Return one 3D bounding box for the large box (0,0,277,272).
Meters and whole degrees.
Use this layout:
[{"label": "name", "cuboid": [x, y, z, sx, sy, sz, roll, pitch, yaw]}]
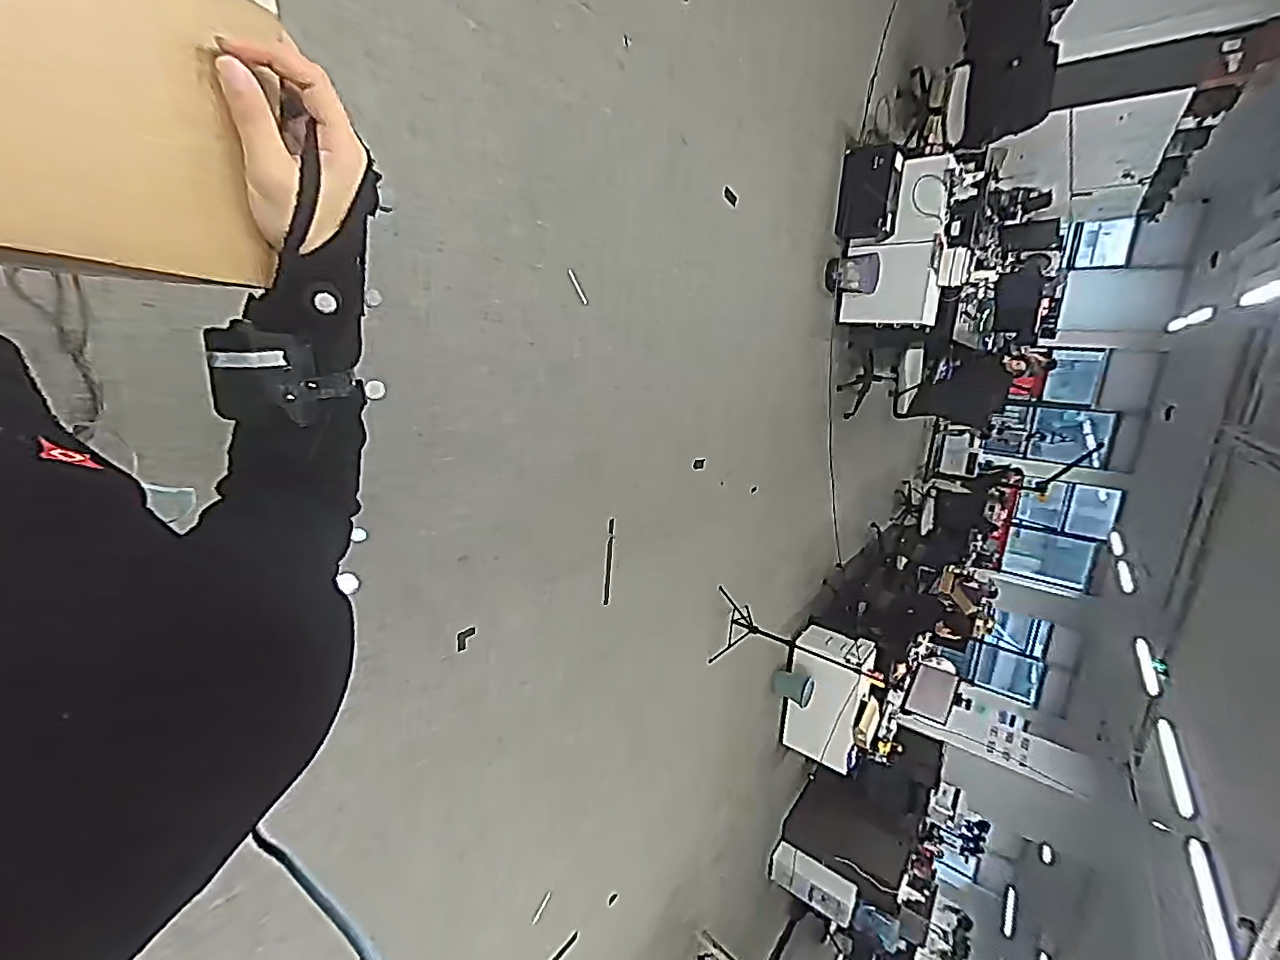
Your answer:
[{"label": "large box", "cuboid": [-0.441, -0.280, 0.210, 0.408, 0.320, 0.320, -14, 115, -59]}]
